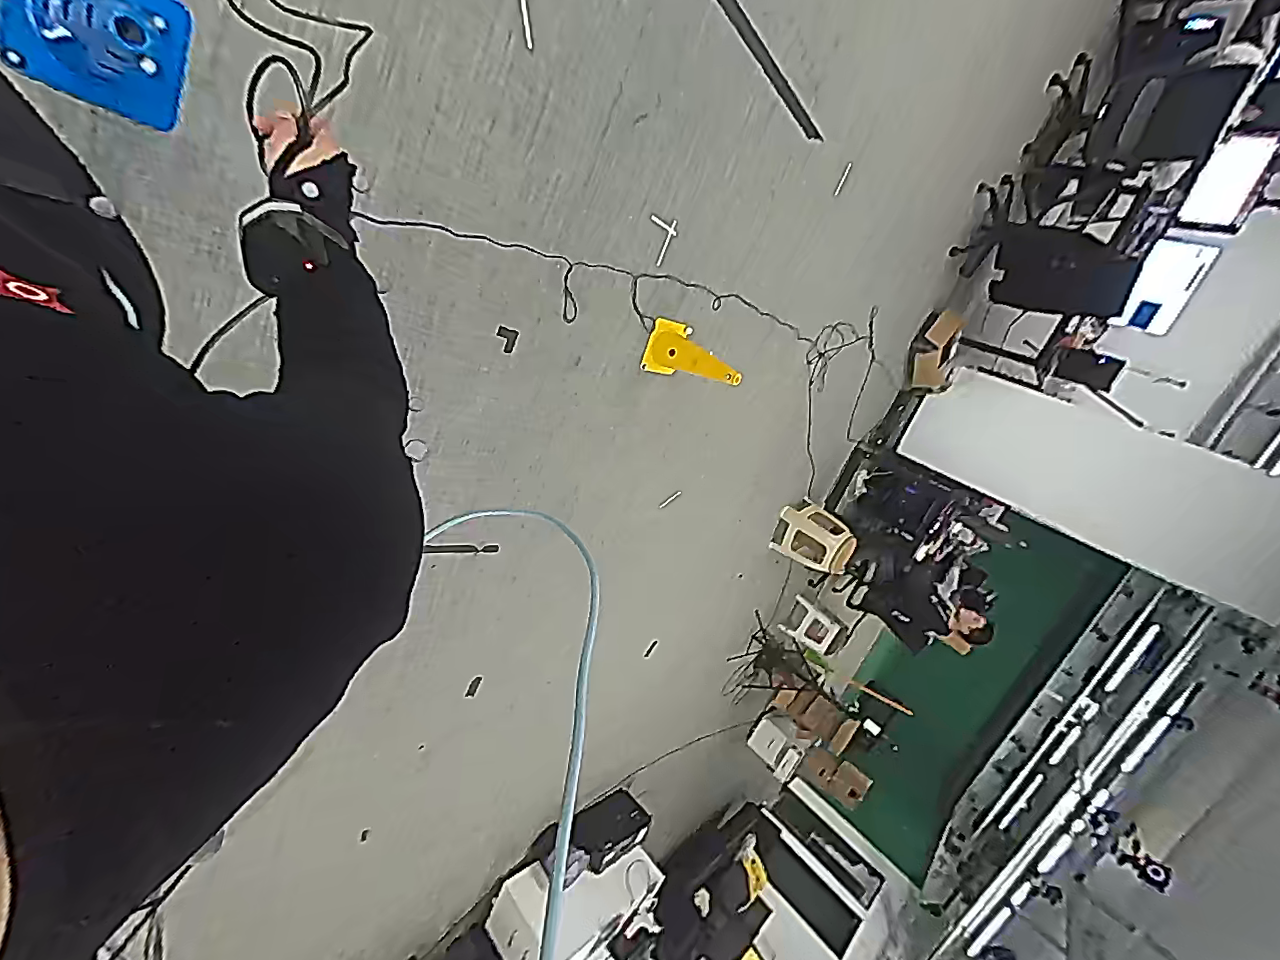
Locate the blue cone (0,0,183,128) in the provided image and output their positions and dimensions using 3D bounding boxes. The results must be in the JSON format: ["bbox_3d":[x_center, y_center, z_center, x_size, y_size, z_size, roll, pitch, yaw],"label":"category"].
[{"bbox_3d":[-0.718,-0.594,0.731,0.193,0.380,0.192,7,113,-52],"label":"blue cone"}]
